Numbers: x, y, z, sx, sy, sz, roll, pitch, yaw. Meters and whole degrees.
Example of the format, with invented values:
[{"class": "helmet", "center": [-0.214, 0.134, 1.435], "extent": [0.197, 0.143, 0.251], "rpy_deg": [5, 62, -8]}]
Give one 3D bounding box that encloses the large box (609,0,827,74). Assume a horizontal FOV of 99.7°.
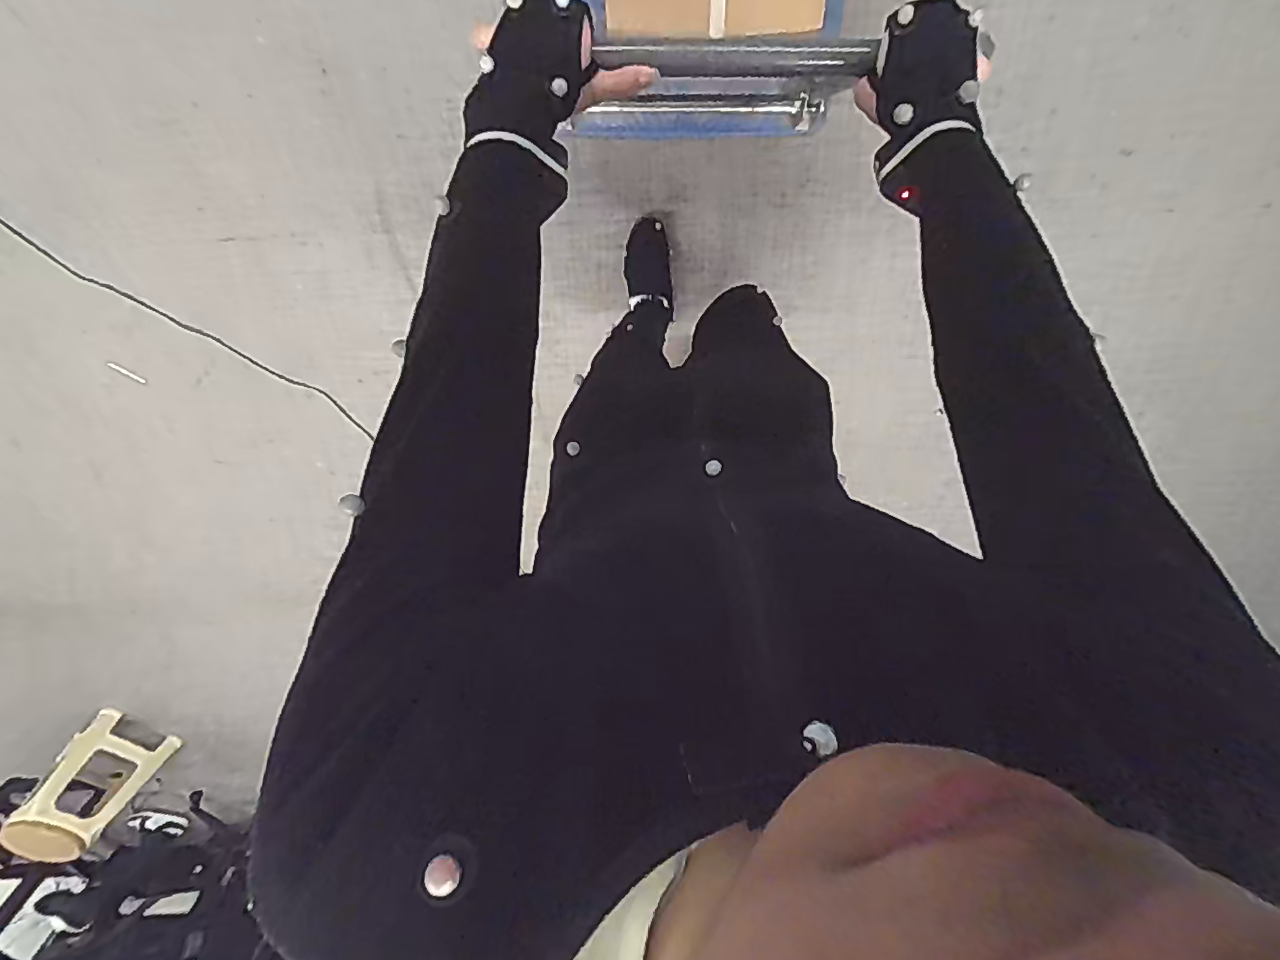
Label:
[{"class": "large box", "center": [0.108, -0.883, 0.816], "extent": [0.320, 0.320, 0.408], "rpy_deg": [-1, 121, 0]}]
